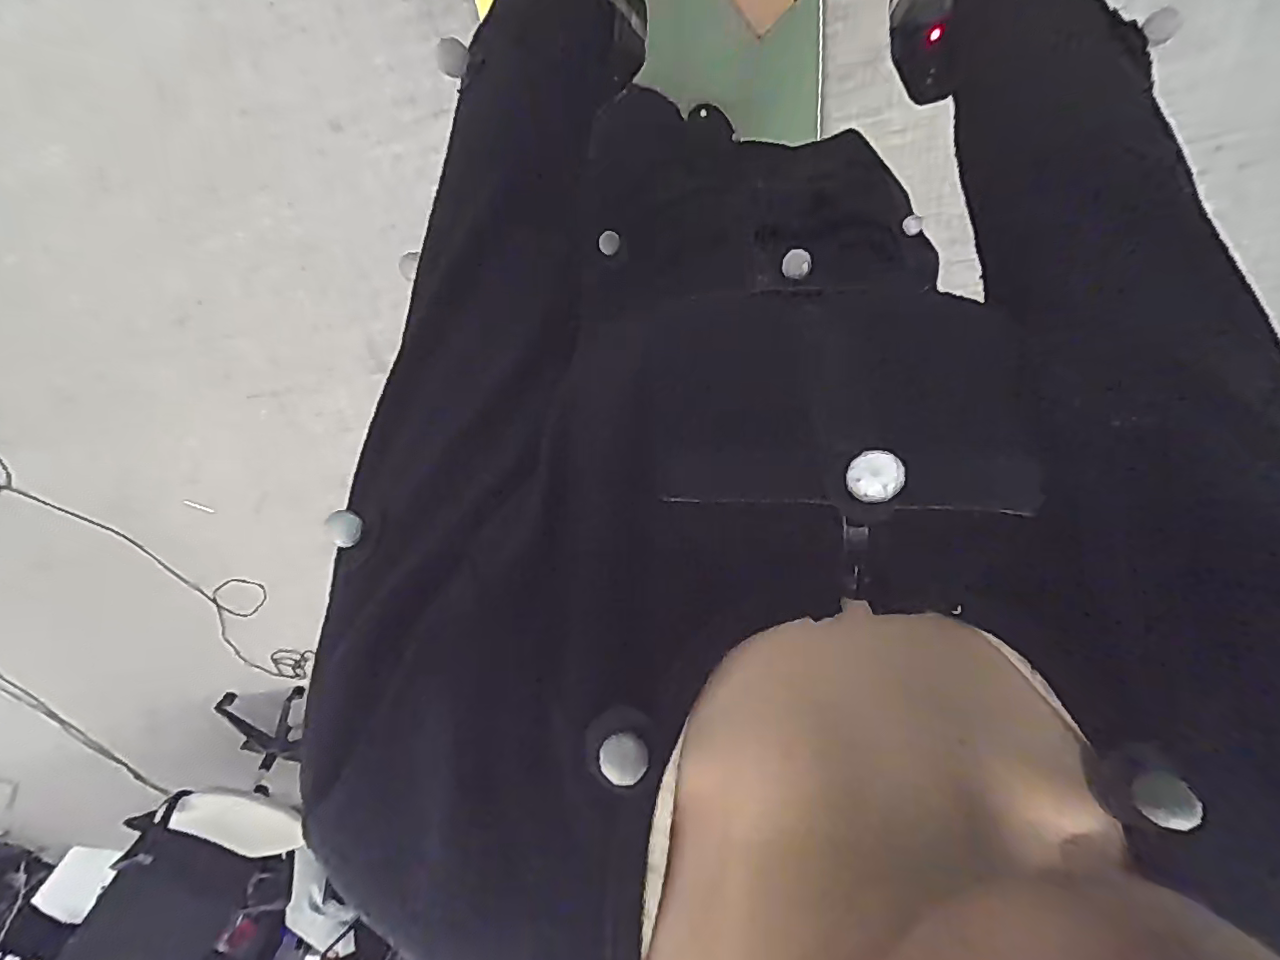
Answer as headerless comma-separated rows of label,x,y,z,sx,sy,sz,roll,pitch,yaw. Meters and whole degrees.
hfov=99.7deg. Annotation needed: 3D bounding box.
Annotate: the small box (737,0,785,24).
small box,0.088,-0.490,0.380,0.168,0.176,0.179,-33,133,30
